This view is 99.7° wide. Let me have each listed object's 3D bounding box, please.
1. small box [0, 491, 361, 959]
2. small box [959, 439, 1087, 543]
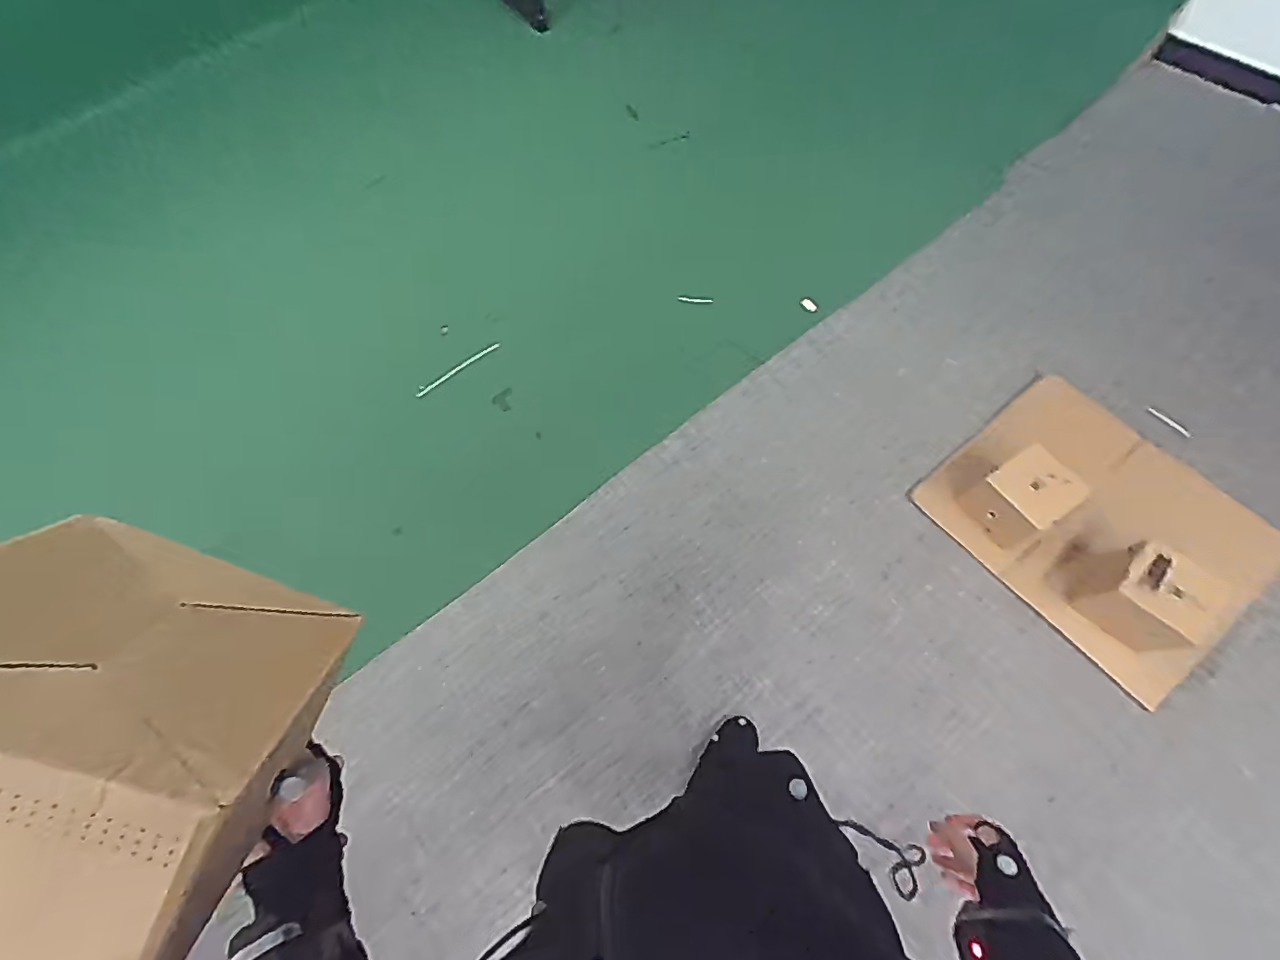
[{"bbox_3d":[-0.281,0.131,0.293,0.179,0.168,0.176,28,99,-14],"label":"small box"},{"bbox_3d":[0.944,0.035,1.358,0.179,0.176,0.168,-32,68,-9],"label":"small box"}]
